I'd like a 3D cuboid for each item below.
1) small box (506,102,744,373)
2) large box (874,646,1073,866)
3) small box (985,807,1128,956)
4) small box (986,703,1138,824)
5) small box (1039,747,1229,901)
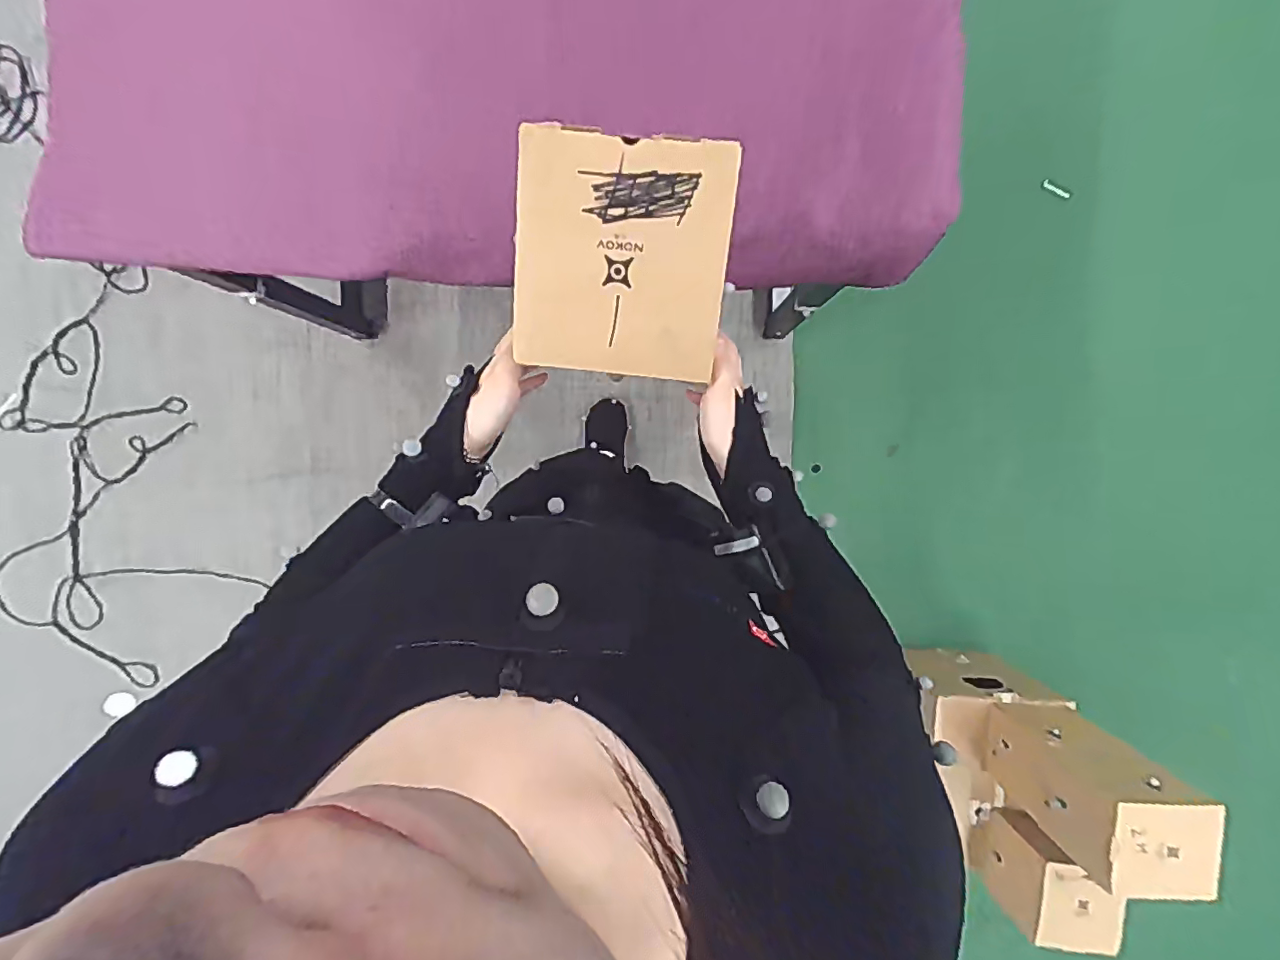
[{"bbox_3d":[-0.012,-0.198,0.481,0.168,0.176,0.179,7,107,2],"label":"small box"},{"bbox_3d":[0.811,0.669,1.365,0.320,0.320,0.408,2,94,2],"label":"large box"},{"bbox_3d":[0.858,0.828,1.129,0.168,0.176,0.179,7,93,0],"label":"small box"},{"bbox_3d":[0.861,0.580,1.116,0.179,0.176,0.168,2,94,1],"label":"small box"},{"bbox_3d":[0.855,0.594,0.952,0.179,0.176,0.168,1,94,1],"label":"small box"}]
